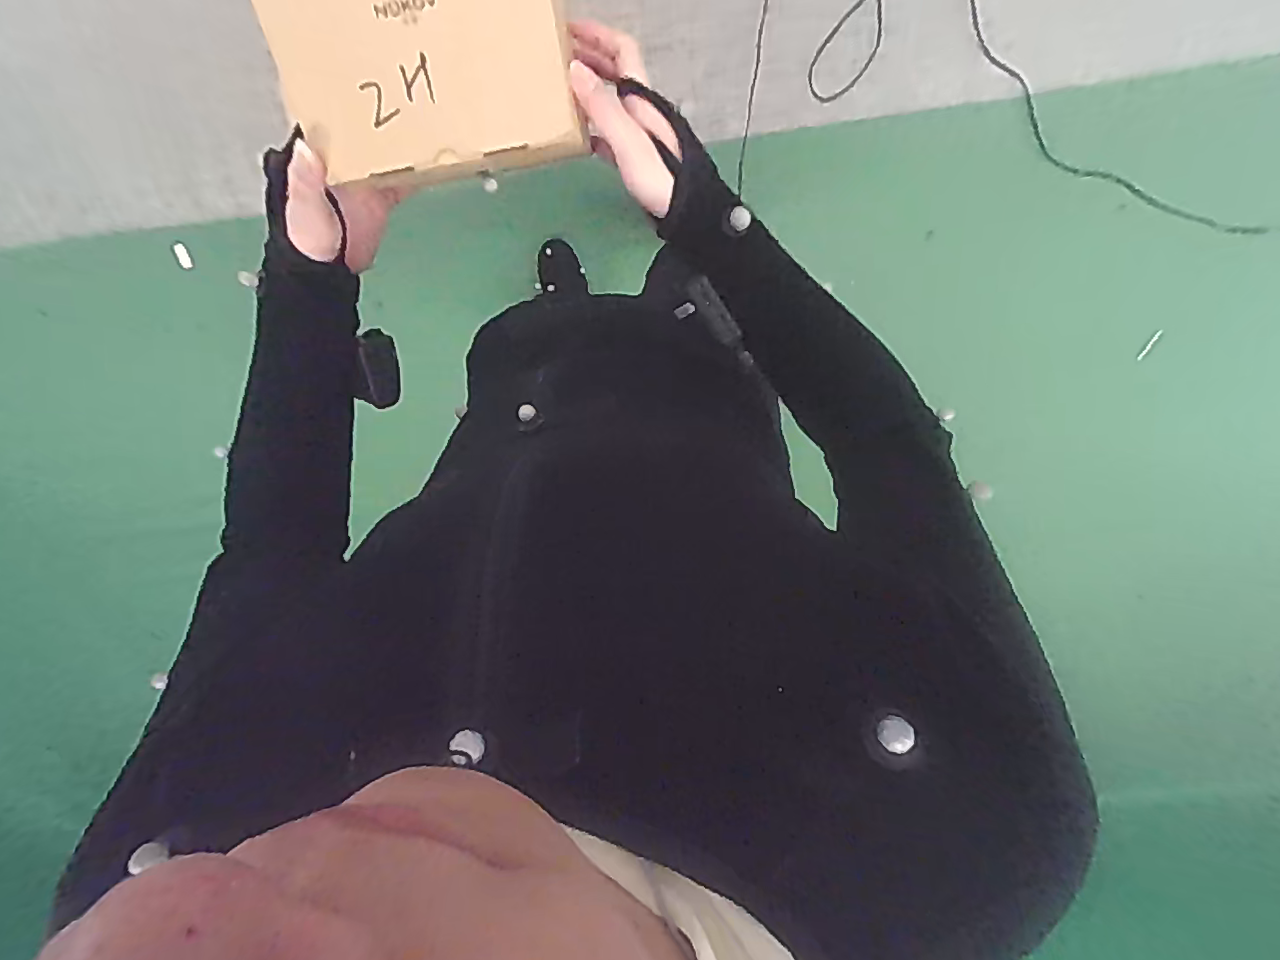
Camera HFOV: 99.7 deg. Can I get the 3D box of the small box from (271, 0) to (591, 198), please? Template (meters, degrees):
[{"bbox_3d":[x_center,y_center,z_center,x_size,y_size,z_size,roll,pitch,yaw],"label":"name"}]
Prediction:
[{"bbox_3d":[-0.131,-0.308,0.385,0.168,0.176,0.179,-7,118,3],"label":"small box"}]
